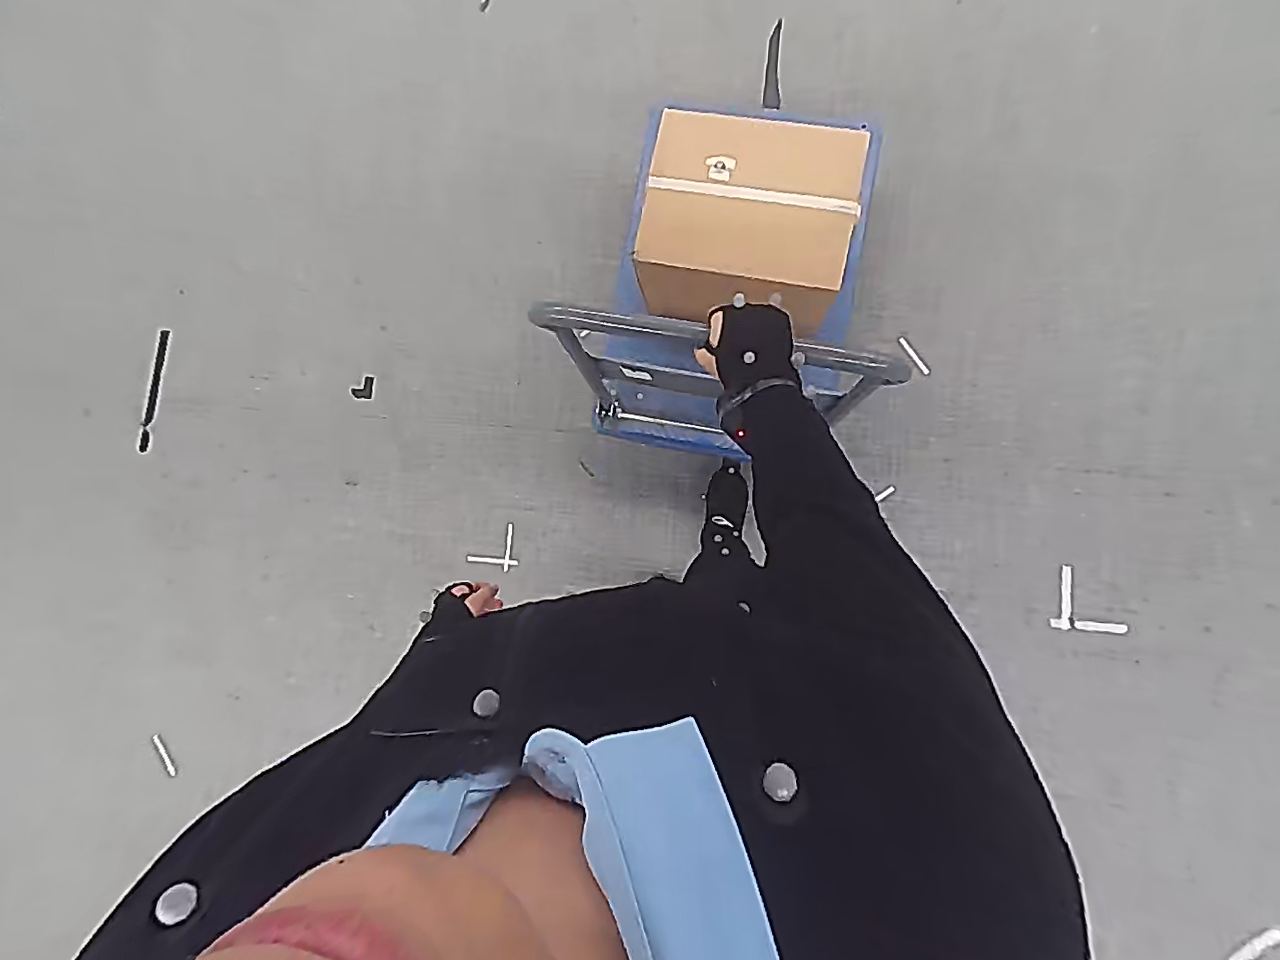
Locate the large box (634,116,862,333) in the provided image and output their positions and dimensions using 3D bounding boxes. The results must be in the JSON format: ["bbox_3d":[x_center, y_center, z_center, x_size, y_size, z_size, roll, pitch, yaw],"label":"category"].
[{"bbox_3d":[0.230,-0.544,1.203,0.408,0.320,0.320,11,87,9],"label":"large box"}]
